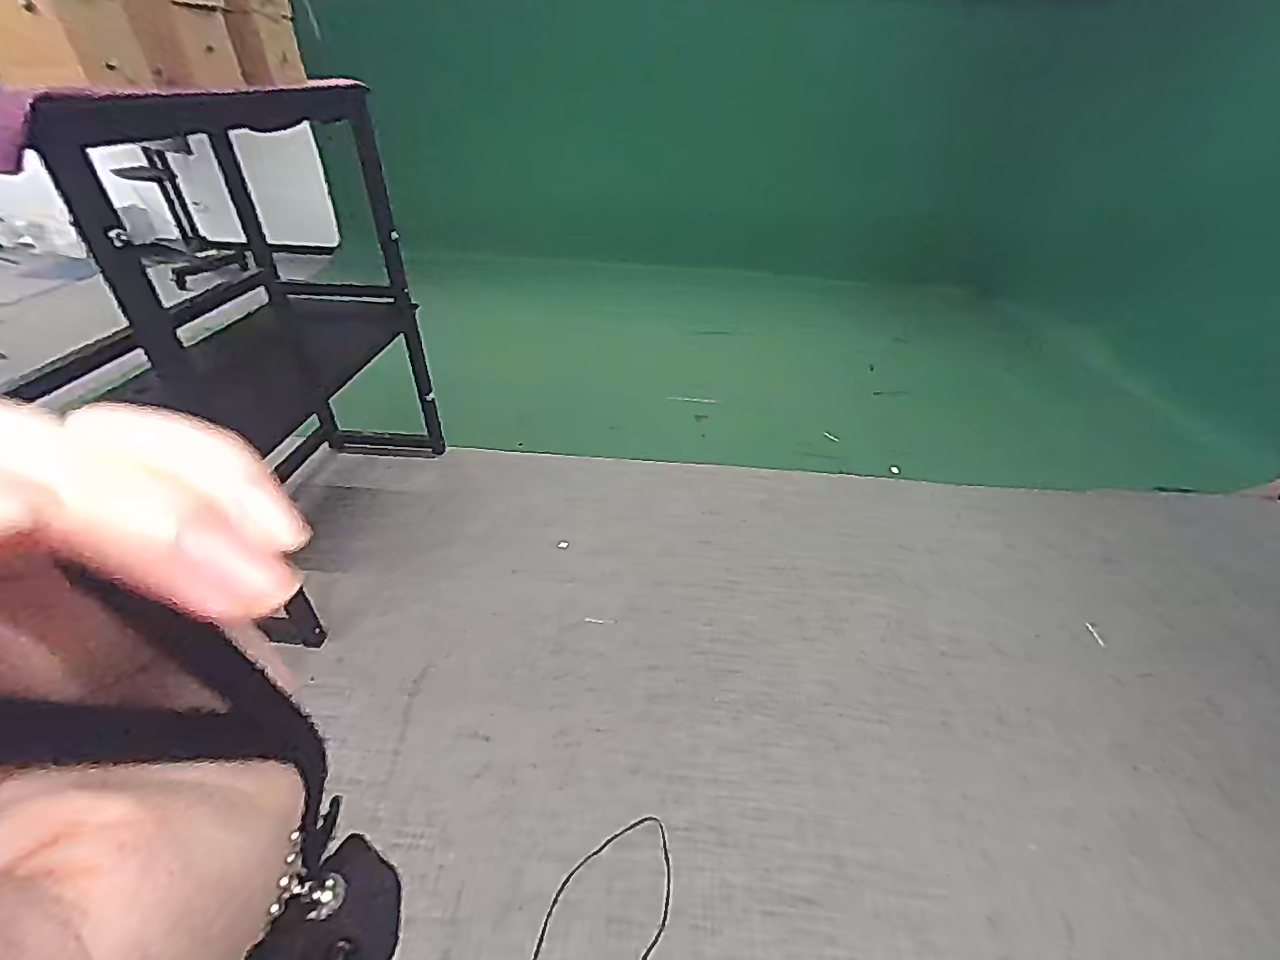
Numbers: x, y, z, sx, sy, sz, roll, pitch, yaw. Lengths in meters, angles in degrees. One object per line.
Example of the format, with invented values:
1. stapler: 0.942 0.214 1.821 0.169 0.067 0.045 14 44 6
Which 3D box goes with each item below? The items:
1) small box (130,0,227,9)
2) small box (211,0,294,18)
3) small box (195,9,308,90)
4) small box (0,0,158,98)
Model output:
1. small box: -1.084 -1.170 1.201 0.179 0.176 0.168 7 38 4
2. small box: -1.073 -1.344 1.436 0.179 0.176 0.168 7 39 3
3. small box: -1.082 -1.209 1.527 0.179 0.176 0.168 5 37 2
4. small box: -1.100 -0.838 1.035 0.179 0.176 0.168 1 36 -1
